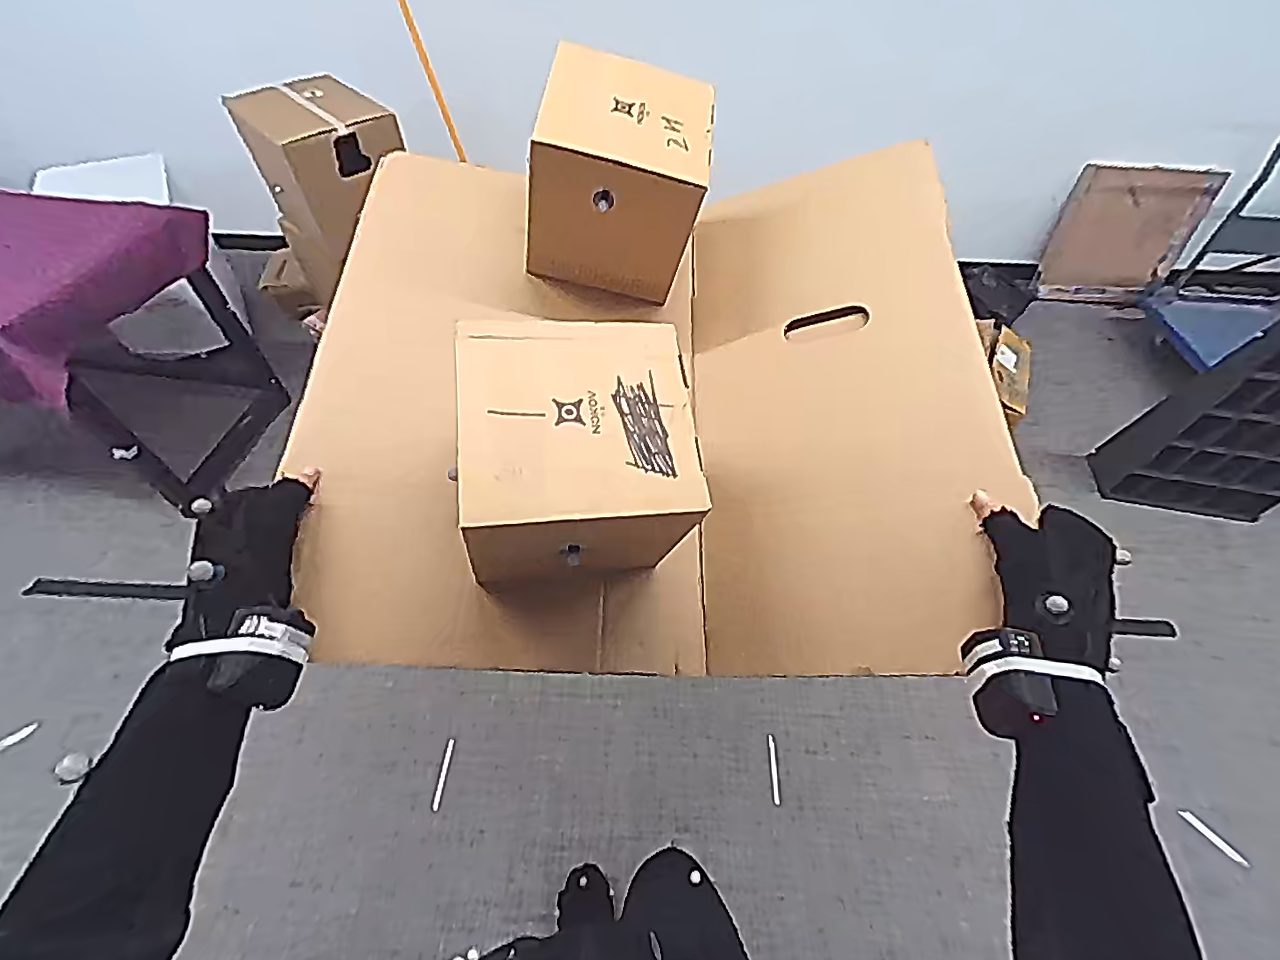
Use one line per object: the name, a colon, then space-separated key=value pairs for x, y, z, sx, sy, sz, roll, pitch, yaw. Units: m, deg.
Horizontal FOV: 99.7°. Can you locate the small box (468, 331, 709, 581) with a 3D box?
small box: x=-0.057 y=-0.012 z=0.483 sx=0.179 sy=0.176 sz=0.168 roll=-3 pitch=68 yaw=-13

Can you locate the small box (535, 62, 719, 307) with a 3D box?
small box: x=-0.022 y=-0.330 z=0.632 sx=0.179 sy=0.176 sz=0.168 roll=12 pitch=65 yaw=-9
